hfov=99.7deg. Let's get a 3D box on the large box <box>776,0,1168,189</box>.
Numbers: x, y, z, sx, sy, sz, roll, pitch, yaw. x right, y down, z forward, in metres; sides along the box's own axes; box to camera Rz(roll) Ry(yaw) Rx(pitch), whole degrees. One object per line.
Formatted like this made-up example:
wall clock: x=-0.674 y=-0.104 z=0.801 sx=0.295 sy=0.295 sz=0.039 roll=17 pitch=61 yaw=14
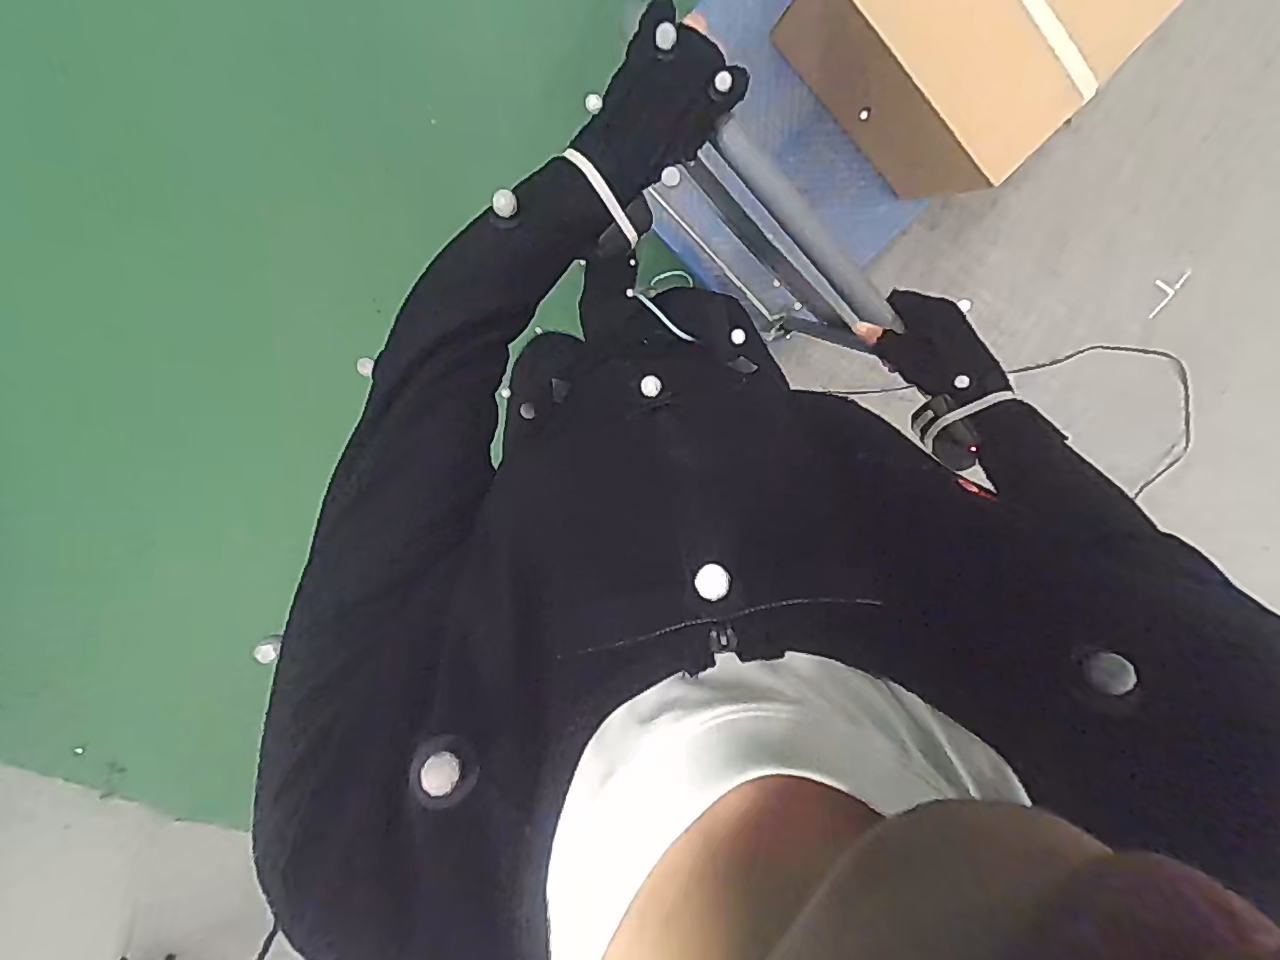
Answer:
large box: x=0.490 y=-0.742 z=0.861 sx=0.408 sy=0.320 sz=0.320 roll=38 pitch=108 yaw=-15
